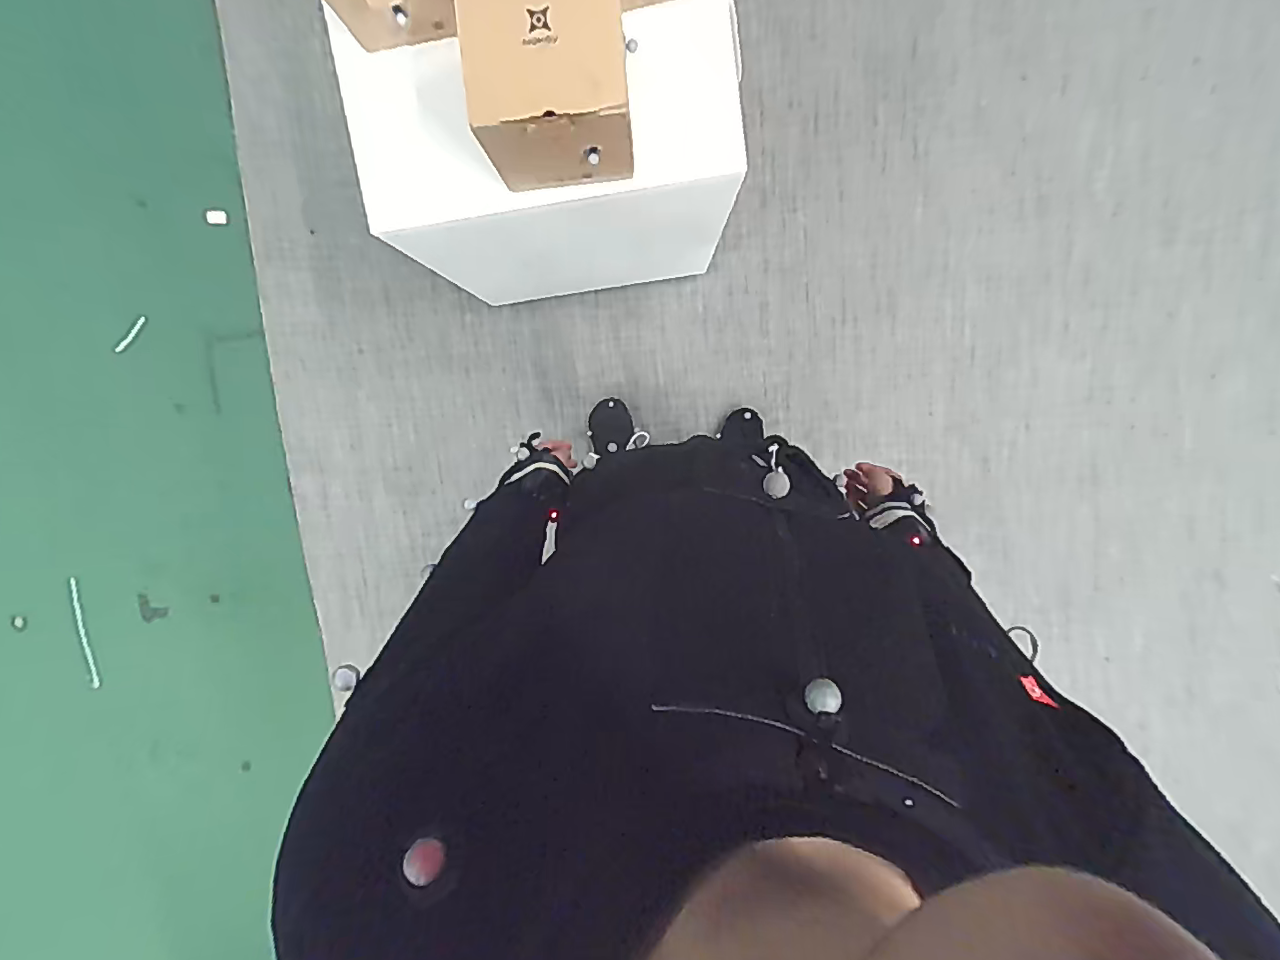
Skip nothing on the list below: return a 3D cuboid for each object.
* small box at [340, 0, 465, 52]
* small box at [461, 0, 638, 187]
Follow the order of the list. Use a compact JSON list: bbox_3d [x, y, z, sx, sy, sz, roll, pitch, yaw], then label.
[{"bbox_3d":[-0.275,-0.628,0.597,0.168,0.176,0.179,-9,99,2],"label":"small box"},{"bbox_3d":[-0.091,-0.456,0.616,0.168,0.176,0.179,-4,96,2],"label":"small box"}]
